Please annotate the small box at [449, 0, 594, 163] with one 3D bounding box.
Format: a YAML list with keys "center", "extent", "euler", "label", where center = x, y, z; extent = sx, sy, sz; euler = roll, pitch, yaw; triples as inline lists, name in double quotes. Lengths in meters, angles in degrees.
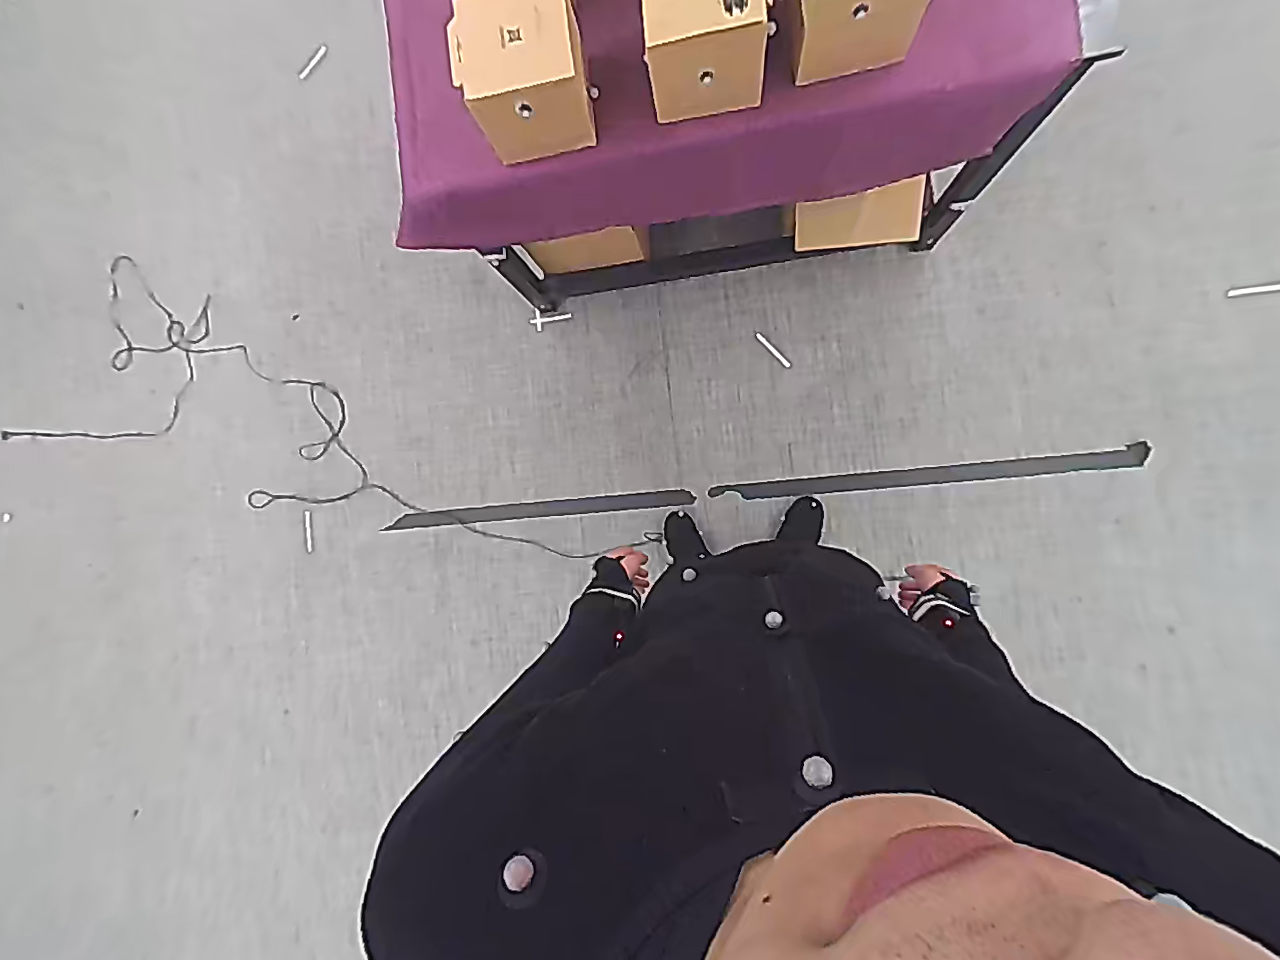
- center: [-0.186, -0.654, 0.885]
  extent: [0.179, 0.176, 0.168]
  euler: [-8, 88, 7]
  label: "small box"
